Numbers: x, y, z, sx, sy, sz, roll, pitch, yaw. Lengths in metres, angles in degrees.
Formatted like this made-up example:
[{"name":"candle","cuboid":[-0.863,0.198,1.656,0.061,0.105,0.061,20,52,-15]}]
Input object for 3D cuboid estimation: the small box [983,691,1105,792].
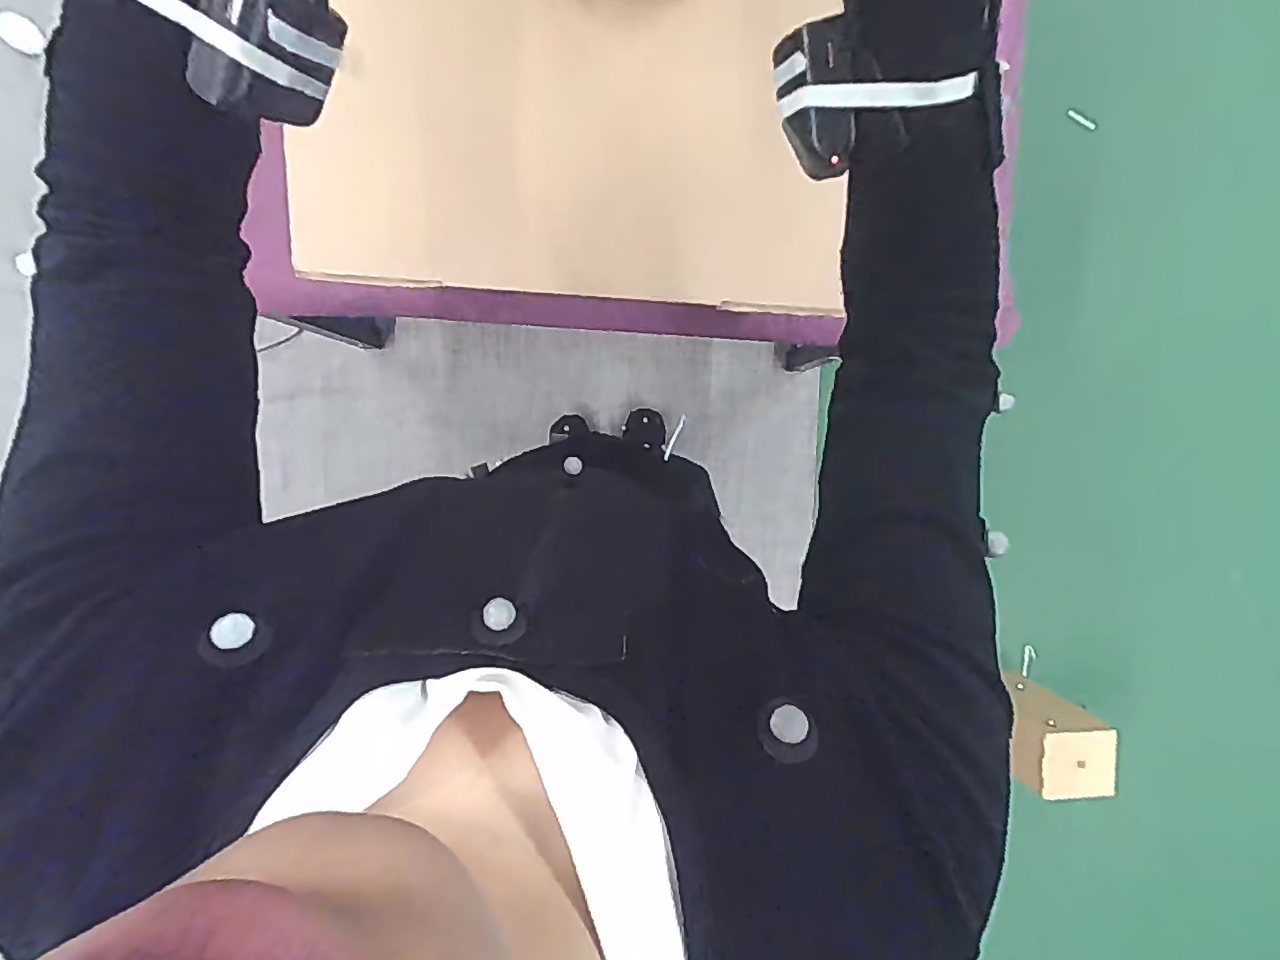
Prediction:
[{"name":"small box","cuboid":[1.003,0.646,1.353,0.179,0.176,0.168,-2,96,-2]}]
